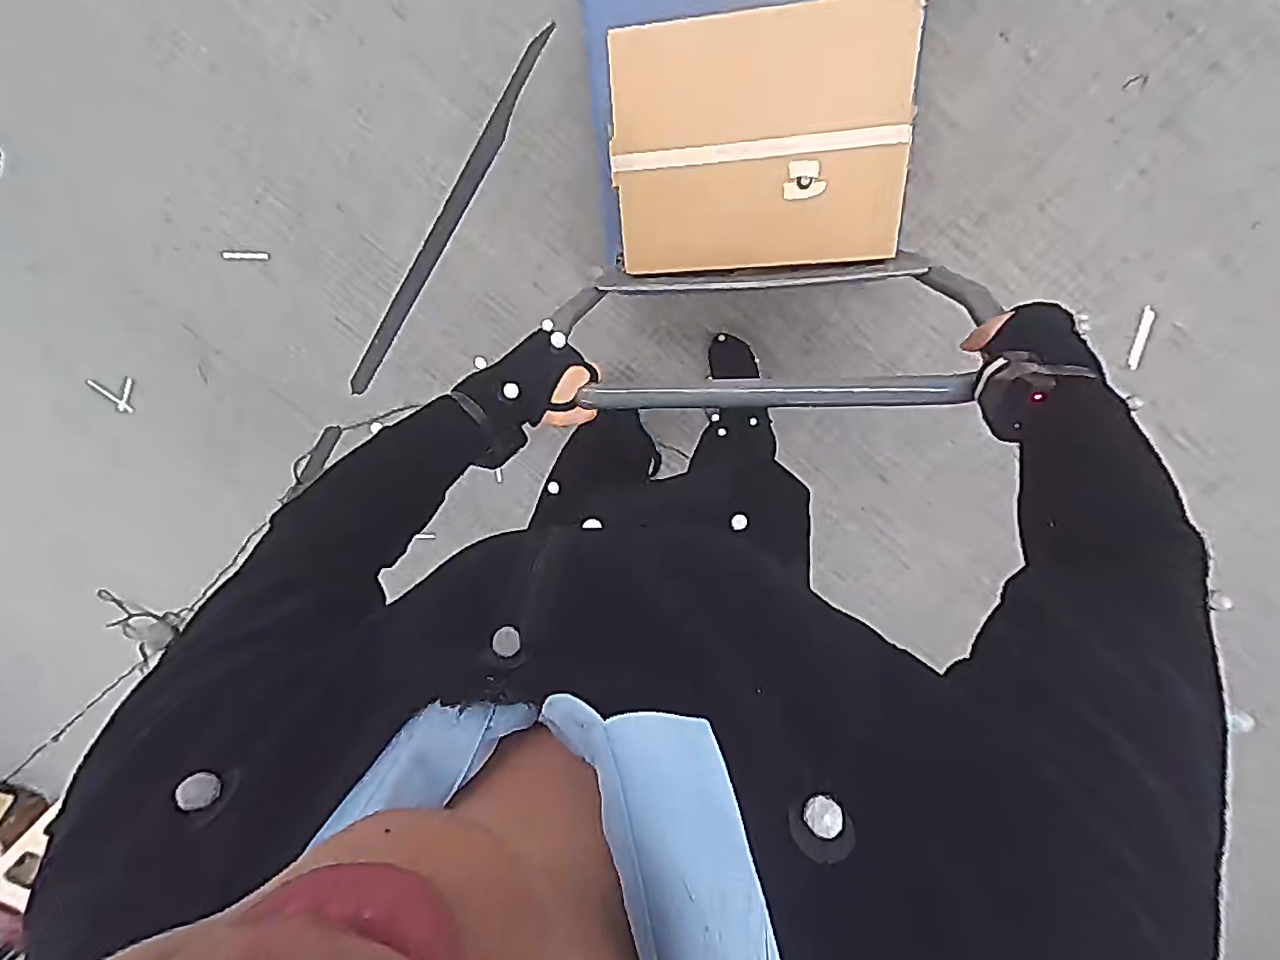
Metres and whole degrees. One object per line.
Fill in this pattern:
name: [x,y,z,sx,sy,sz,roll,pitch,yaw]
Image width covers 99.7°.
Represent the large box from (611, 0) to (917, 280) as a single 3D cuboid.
large box: [0.185,-0.524,0.906,0.408,0.320,0.320,0,116,9]
